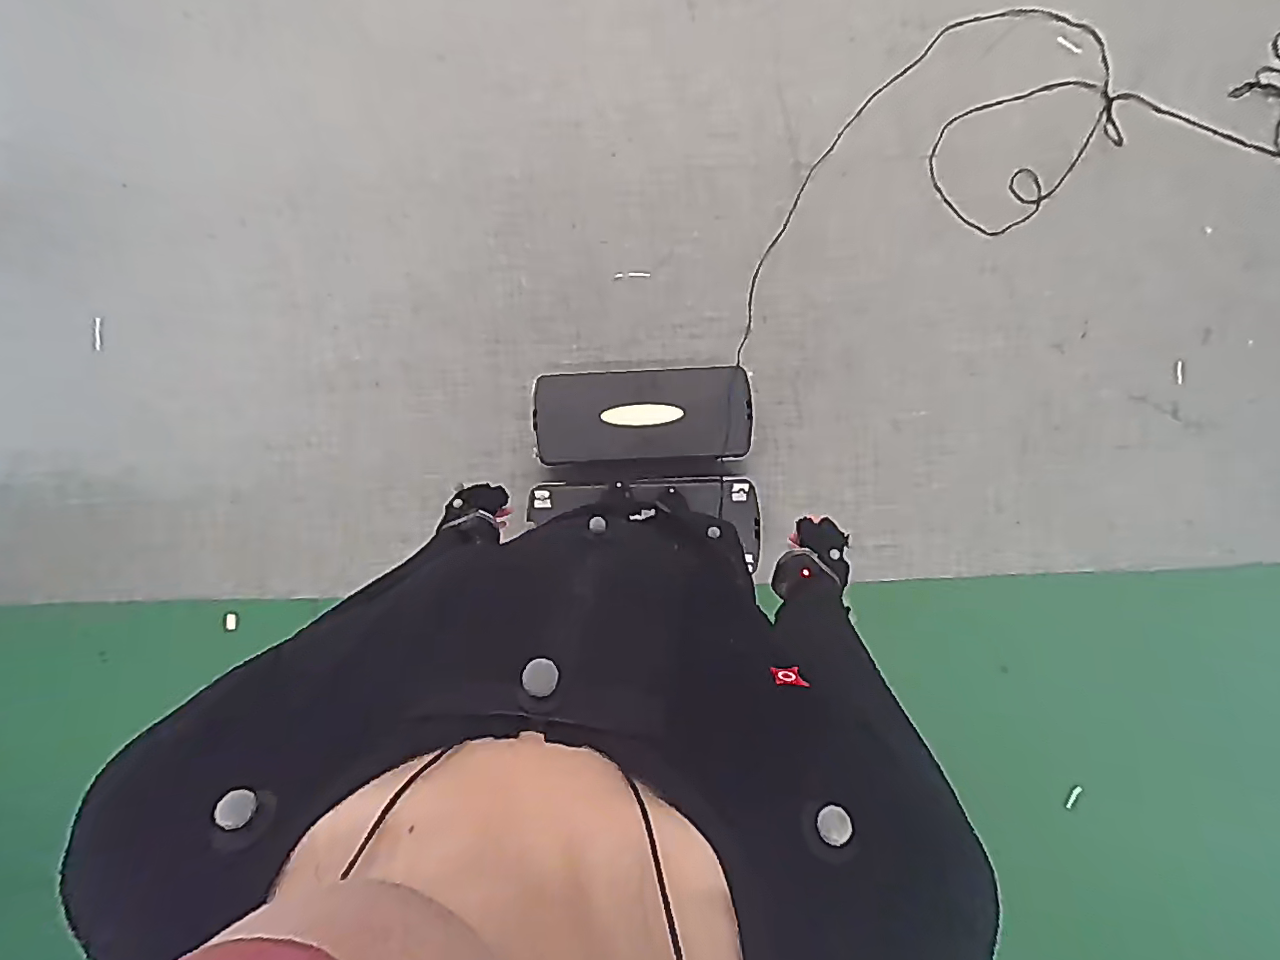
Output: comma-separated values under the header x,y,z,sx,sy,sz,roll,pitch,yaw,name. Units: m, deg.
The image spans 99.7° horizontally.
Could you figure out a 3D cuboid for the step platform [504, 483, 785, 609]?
x,y,z,sx,sy,sz,roll,pitch,yaw,name
0.009,0.162,1.397,0.684,0.204,0.286,-2,89,0,step platform
